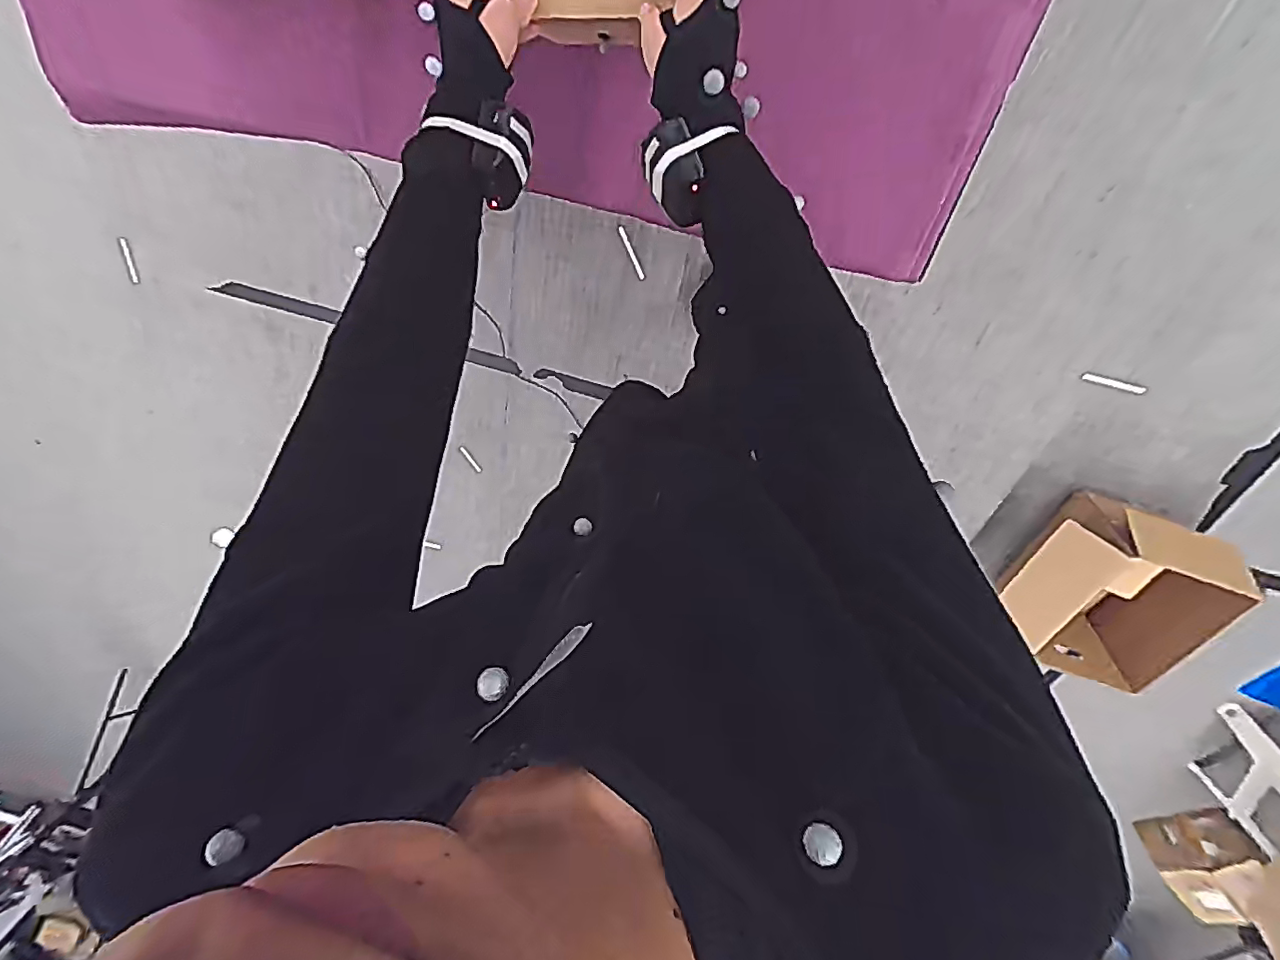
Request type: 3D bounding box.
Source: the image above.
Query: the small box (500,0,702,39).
[{"bbox_3d":[-0.026,-0.519,0.488,0.168,0.176,0.179,7,123,8],"label":"small box"}]
